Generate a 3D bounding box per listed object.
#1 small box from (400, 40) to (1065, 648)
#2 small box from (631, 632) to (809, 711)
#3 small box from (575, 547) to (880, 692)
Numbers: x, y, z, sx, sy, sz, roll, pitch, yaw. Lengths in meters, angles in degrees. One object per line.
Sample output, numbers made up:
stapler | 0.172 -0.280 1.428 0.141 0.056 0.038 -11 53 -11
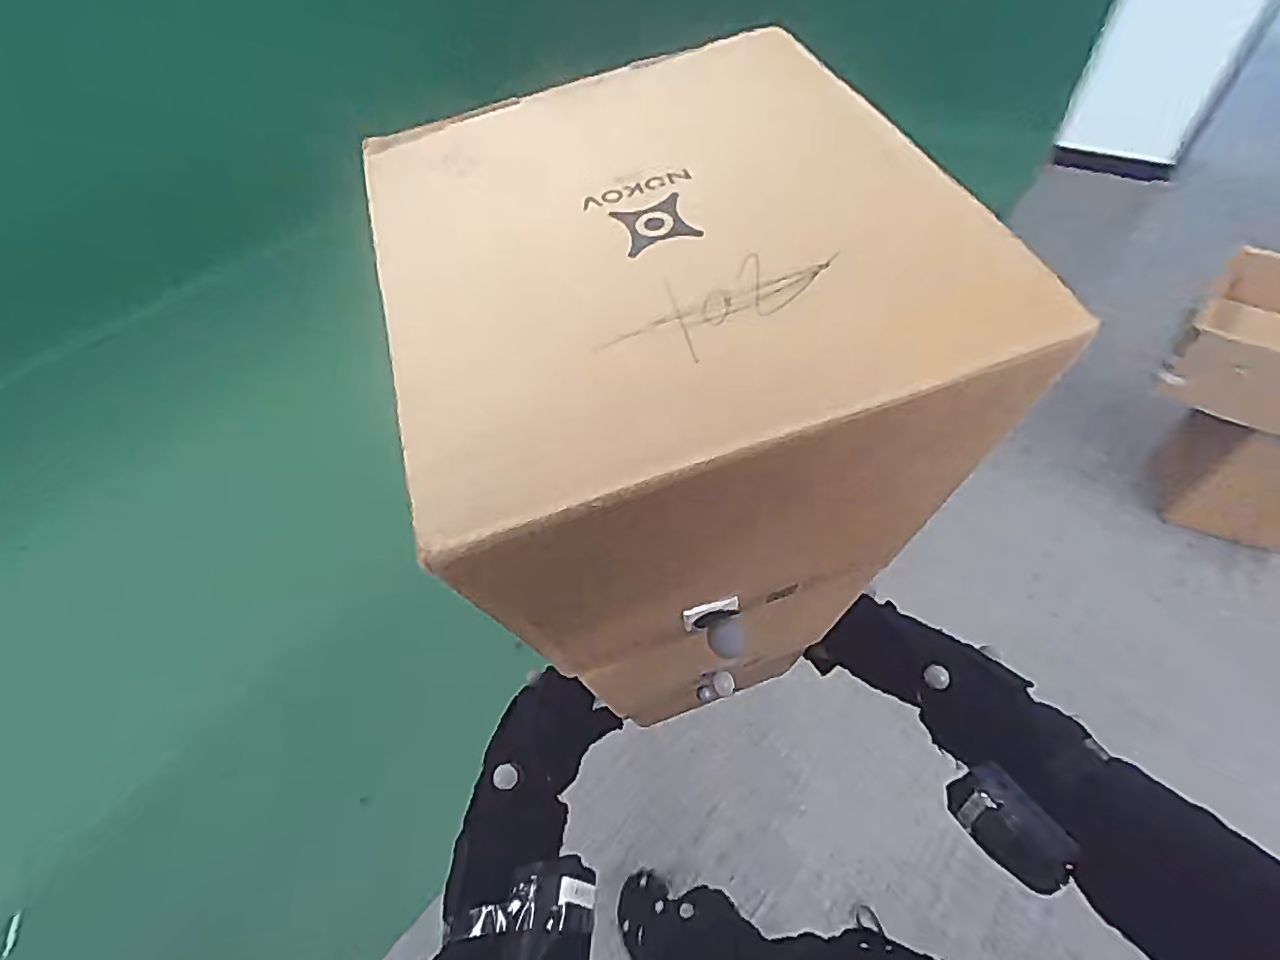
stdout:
small box | 0.016 -0.046 0.245 0.168 0.176 0.179 -19 62 -3
small box | 0.047 0.105 0.532 0.168 0.176 0.179 -18 60 -4
small box | 0.031 0.031 0.386 0.168 0.176 0.179 -18 61 -4
